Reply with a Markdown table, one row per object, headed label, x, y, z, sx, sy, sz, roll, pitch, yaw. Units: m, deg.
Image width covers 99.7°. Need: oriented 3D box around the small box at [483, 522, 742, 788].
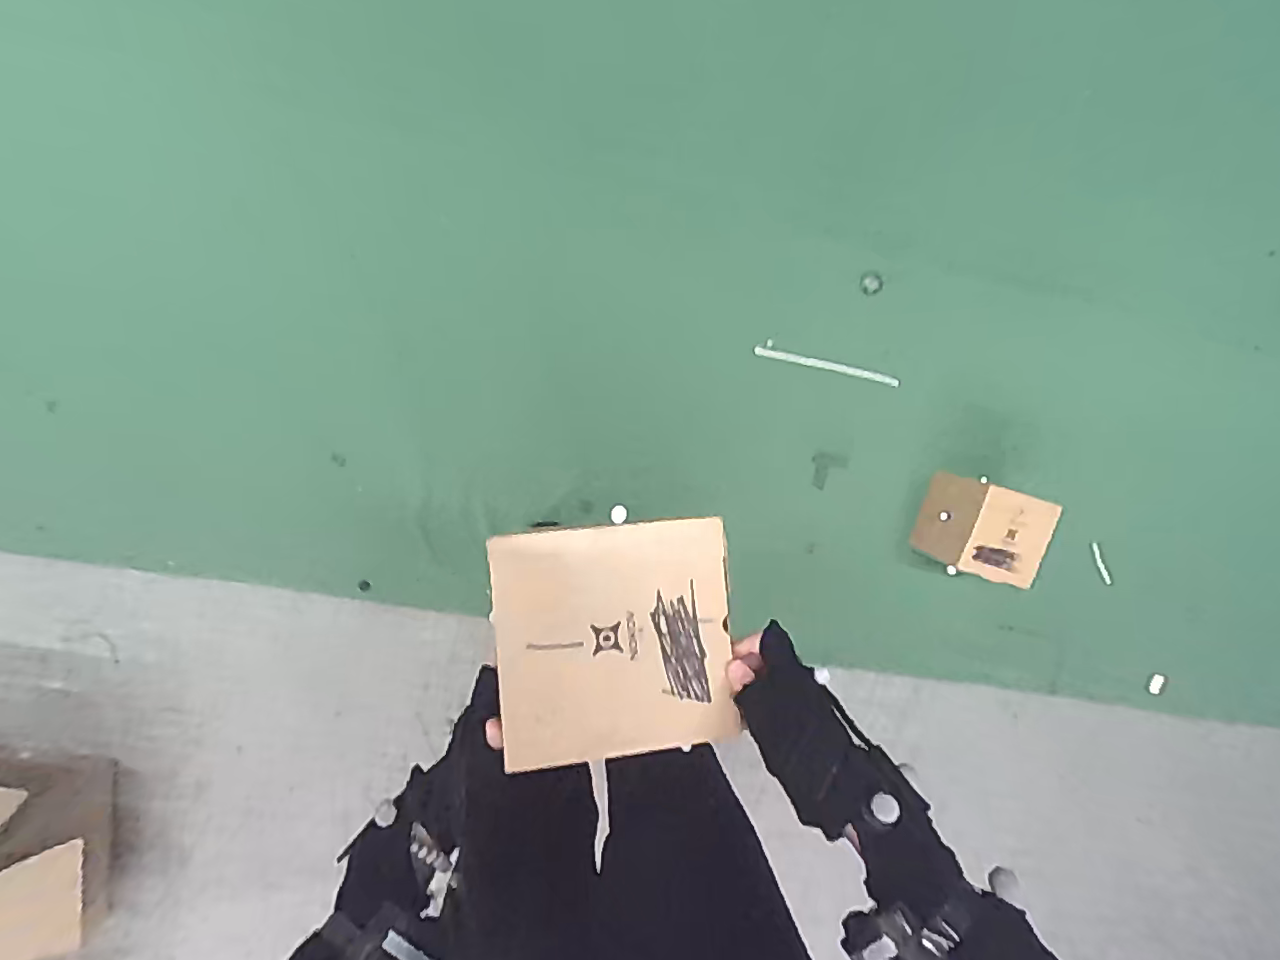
| label | x | y | z | sx | sy | sz | roll | pitch | yaw |
| --- | --- | --- | --- | --- | --- | --- | --- | --- | --- |
| small box | -0.029 | 0.125 | 0.458 | 0.179 | 0.176 | 0.168 | -5 | 87 | -8 |
